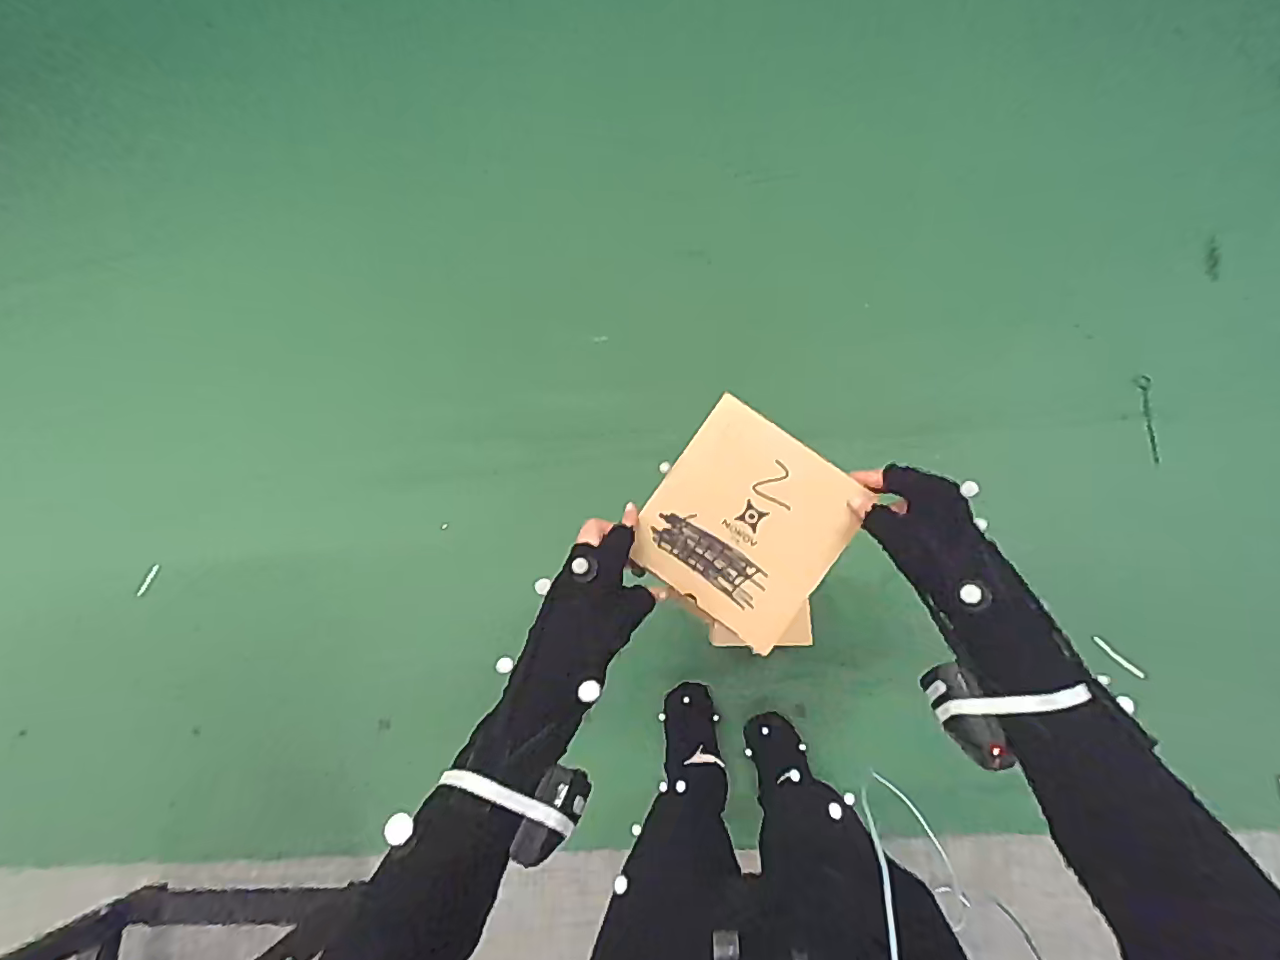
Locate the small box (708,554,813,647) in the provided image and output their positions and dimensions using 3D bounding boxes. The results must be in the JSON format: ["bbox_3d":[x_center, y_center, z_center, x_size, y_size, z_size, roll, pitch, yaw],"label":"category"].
[{"bbox_3d":[0.226,0.233,1.054,0.179,0.176,0.168,-2,77,6],"label":"small box"}]
